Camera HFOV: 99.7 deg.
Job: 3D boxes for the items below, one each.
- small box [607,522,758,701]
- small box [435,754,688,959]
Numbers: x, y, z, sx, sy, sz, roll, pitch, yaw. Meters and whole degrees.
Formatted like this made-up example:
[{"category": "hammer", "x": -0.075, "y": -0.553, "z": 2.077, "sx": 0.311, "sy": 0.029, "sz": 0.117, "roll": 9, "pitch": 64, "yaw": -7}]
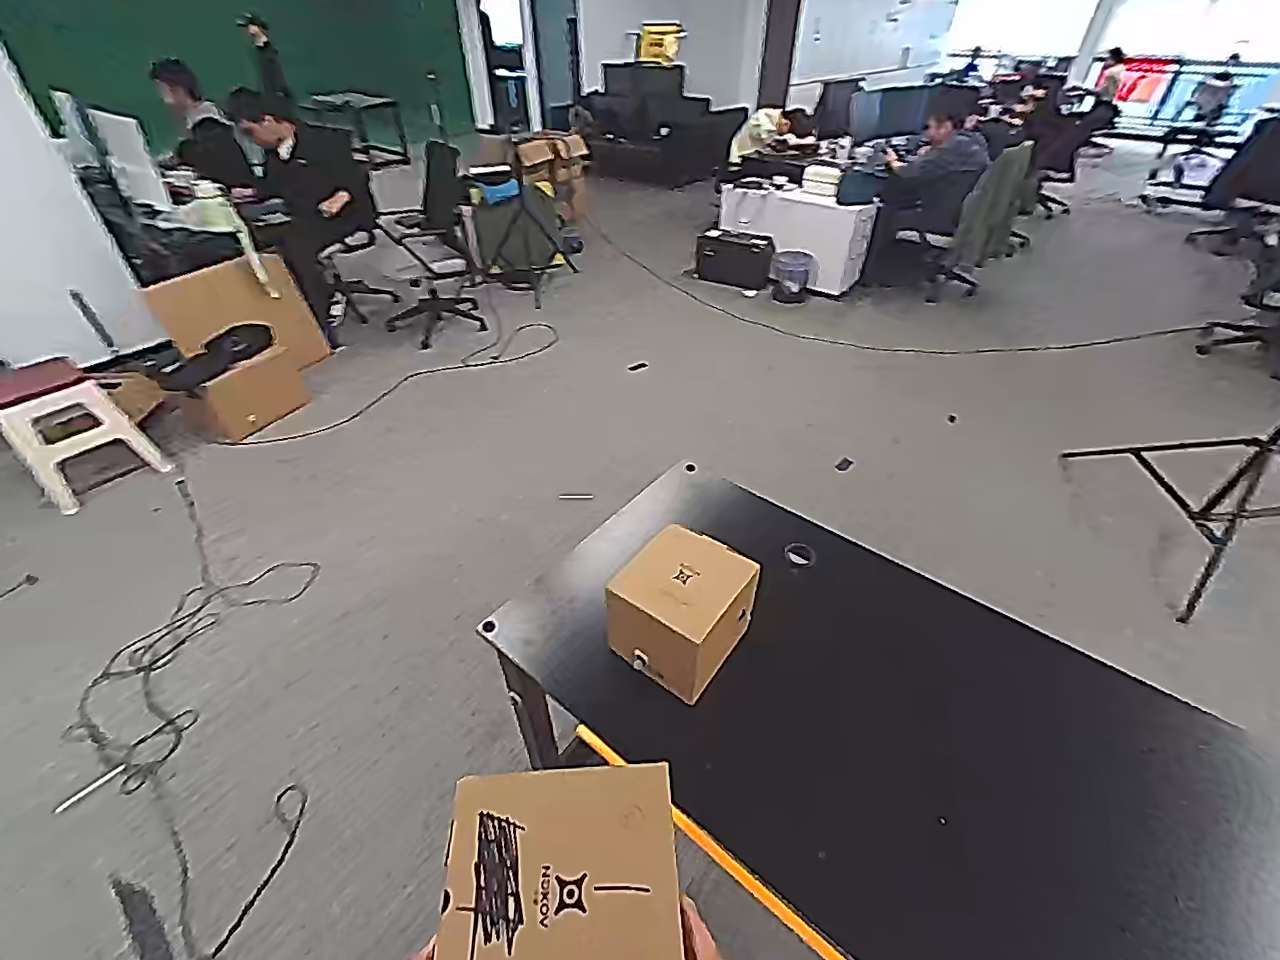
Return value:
[{"category": "small box", "x": 0.065, "y": 0.205, "z": 0.853, "sx": 0.168, "sy": 0.176, "sz": 0.179, "roll": 24, "pitch": 47, "yaw": 27}, {"category": "small box", "x": -0.054, "y": 0.348, "z": 0.455, "sx": 0.179, "sy": 0.176, "sz": 0.168, "roll": -3, "pitch": 47, "yaw": -1}]
